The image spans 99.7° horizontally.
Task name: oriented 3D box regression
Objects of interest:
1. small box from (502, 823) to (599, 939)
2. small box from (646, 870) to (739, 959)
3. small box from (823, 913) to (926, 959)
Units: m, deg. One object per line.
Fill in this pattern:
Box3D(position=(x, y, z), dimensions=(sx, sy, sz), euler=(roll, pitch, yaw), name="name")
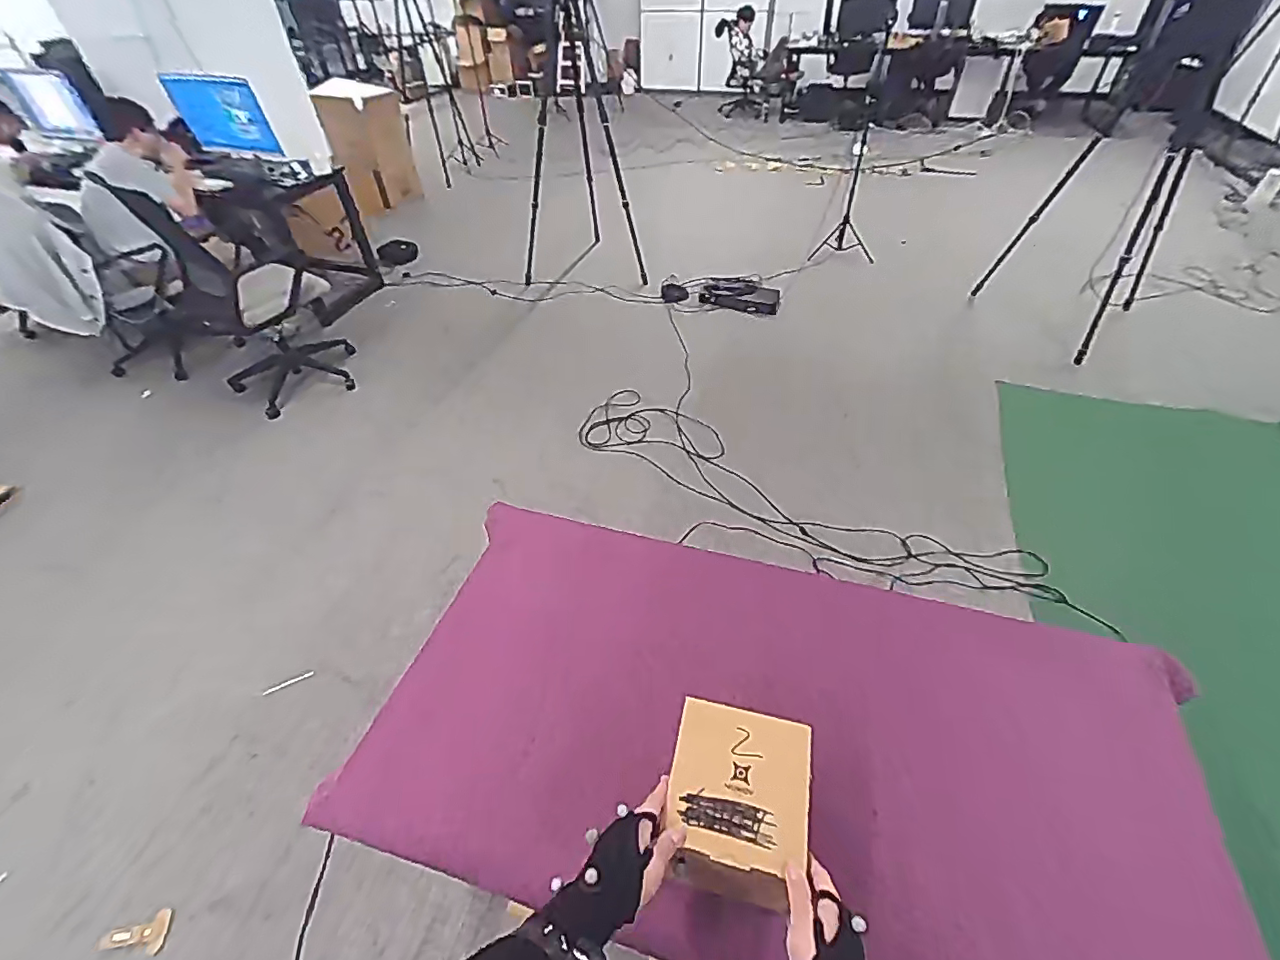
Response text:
Box3D(position=(-0.193, 0.915, 1.231), dimensions=(0.168, 0.176, 0.179), euler=(6, 45, 8), name="small box")
Box3D(position=(0.112, 0.973, 1.163), dimensions=(0.179, 0.176, 0.168), euler=(6, 44, 9), name="small box")
Box3D(position=(0.471, 1.024, 1.097), dimensions=(0.168, 0.176, 0.179), euler=(10, 44, 11), name="small box")
